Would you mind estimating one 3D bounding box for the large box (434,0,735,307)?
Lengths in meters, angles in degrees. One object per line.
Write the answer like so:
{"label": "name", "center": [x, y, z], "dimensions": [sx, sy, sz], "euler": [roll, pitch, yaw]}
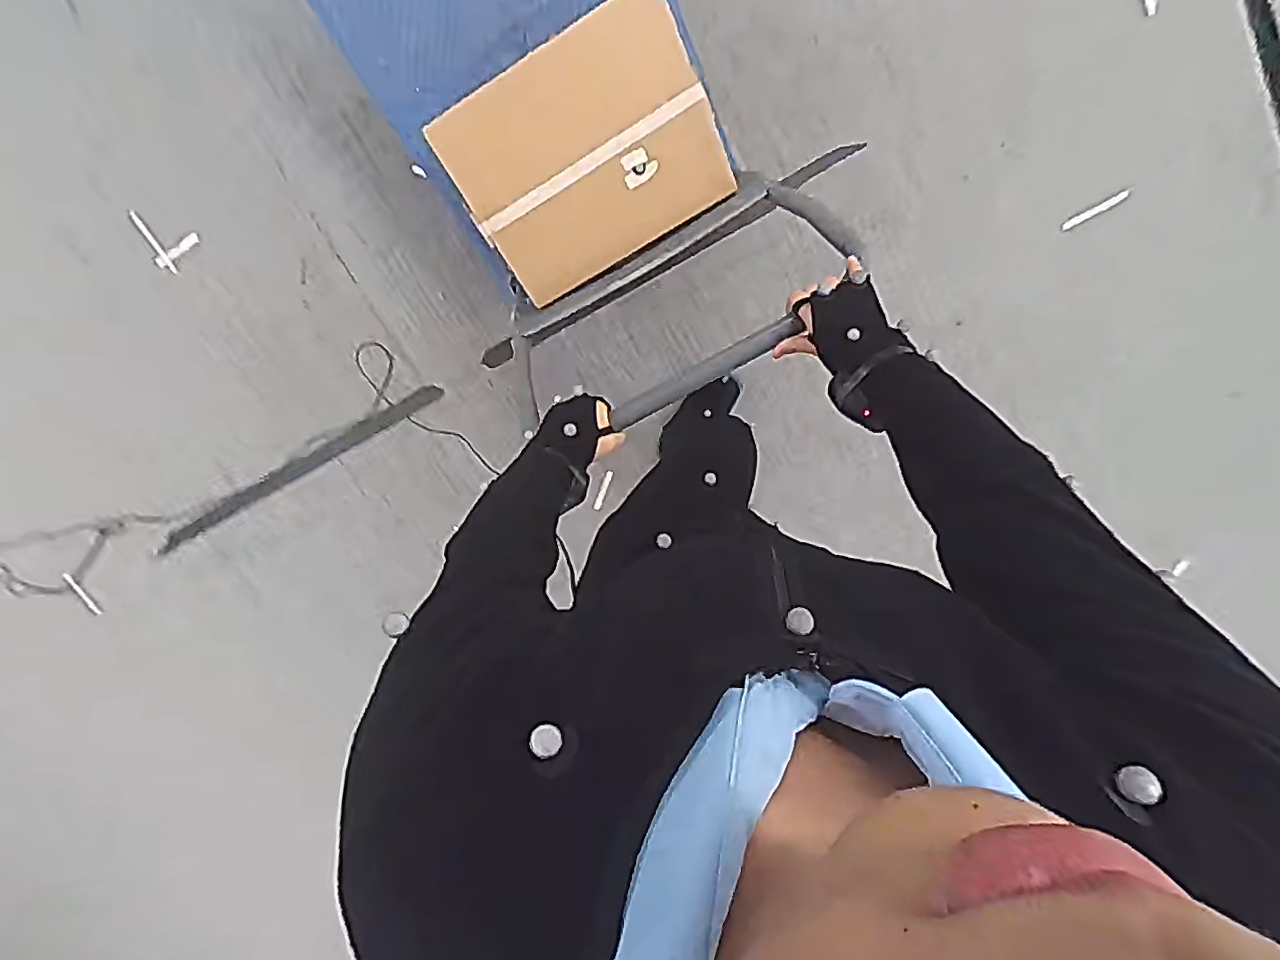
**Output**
{"label": "large box", "center": [-0.101, -0.593, 1.002], "dimensions": [0.408, 0.320, 0.320], "euler": [-29, 123, 9]}
